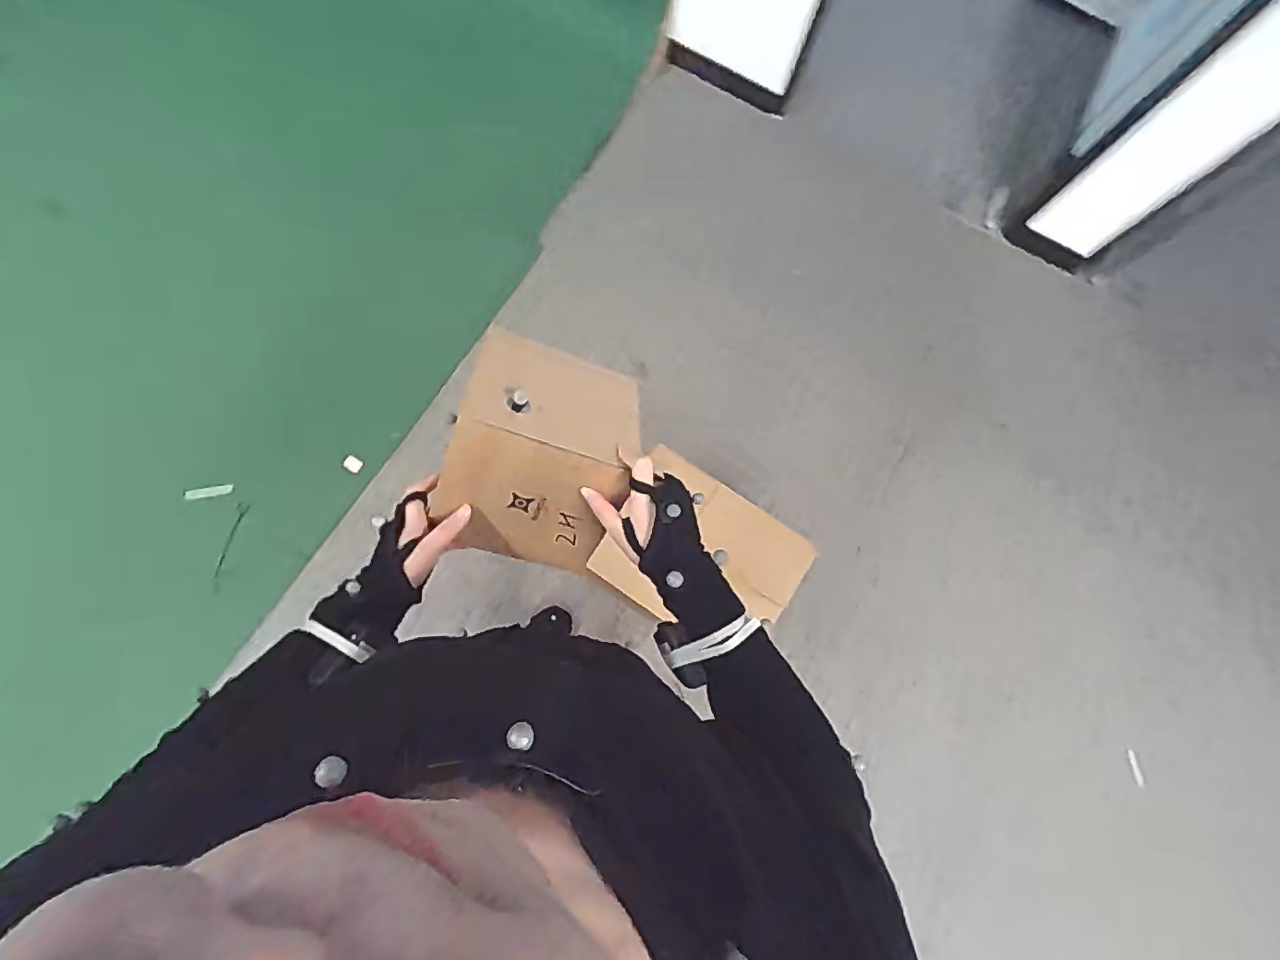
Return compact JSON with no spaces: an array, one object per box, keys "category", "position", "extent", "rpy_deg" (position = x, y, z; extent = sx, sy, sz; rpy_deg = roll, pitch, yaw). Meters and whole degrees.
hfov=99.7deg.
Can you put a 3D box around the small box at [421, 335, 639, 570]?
[{"category":"small box","position":[-0.115,-0.033,0.592],"extent":[0.179,0.168,0.176],"rpy_deg":[18,40,-19]}]
